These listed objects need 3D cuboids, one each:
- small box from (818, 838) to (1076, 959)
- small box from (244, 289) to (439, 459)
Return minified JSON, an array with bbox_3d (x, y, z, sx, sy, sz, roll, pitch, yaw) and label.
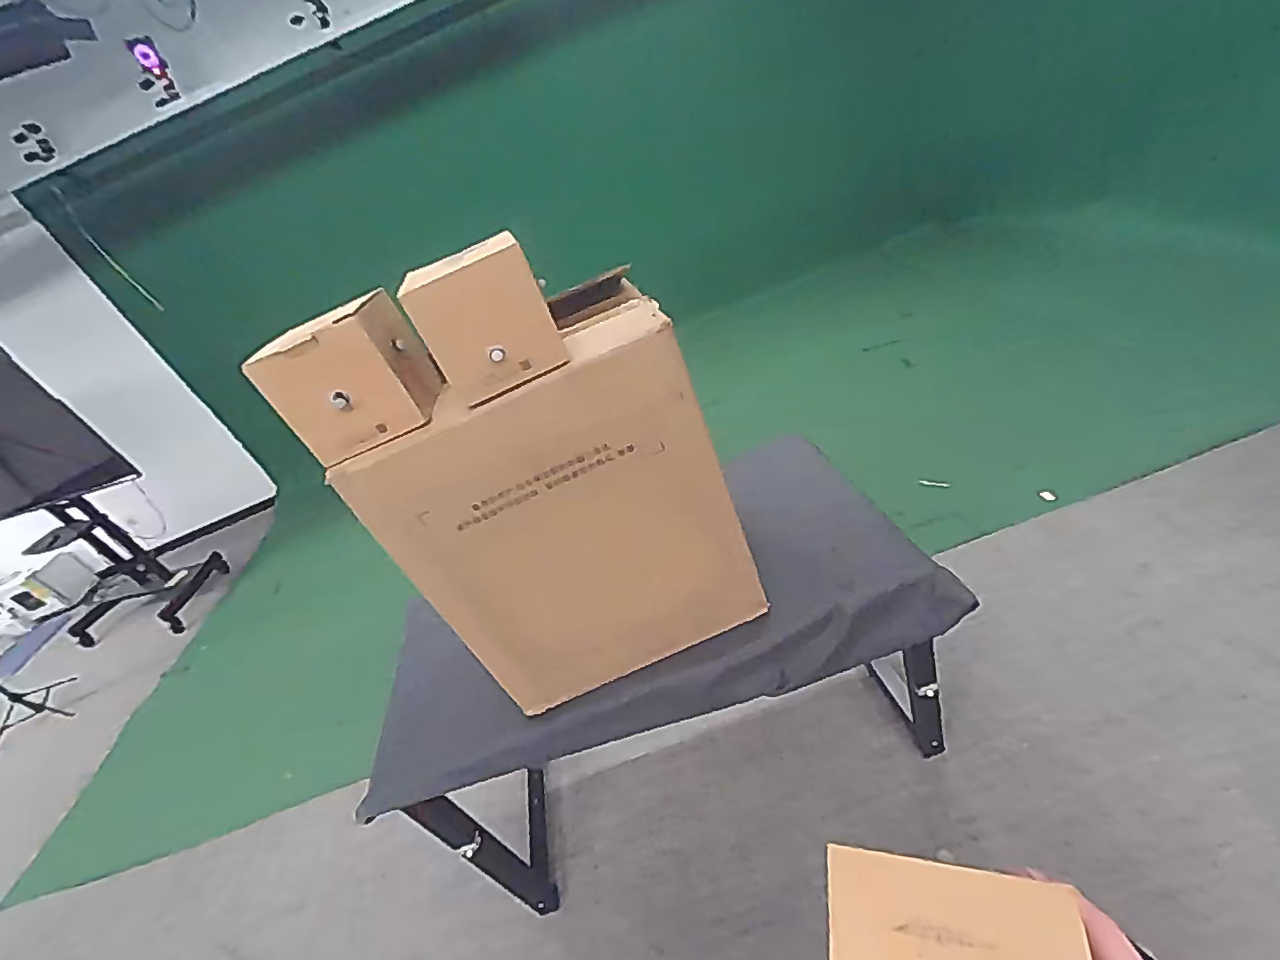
[{"bbox_3d":[0.233,0.405,0.424,0.168,0.176,0.179,-3,52,20],"label":"small box"},{"bbox_3d":[-0.419,-0.152,0.797,0.168,0.176,0.179,-24,33,2],"label":"small box"}]
